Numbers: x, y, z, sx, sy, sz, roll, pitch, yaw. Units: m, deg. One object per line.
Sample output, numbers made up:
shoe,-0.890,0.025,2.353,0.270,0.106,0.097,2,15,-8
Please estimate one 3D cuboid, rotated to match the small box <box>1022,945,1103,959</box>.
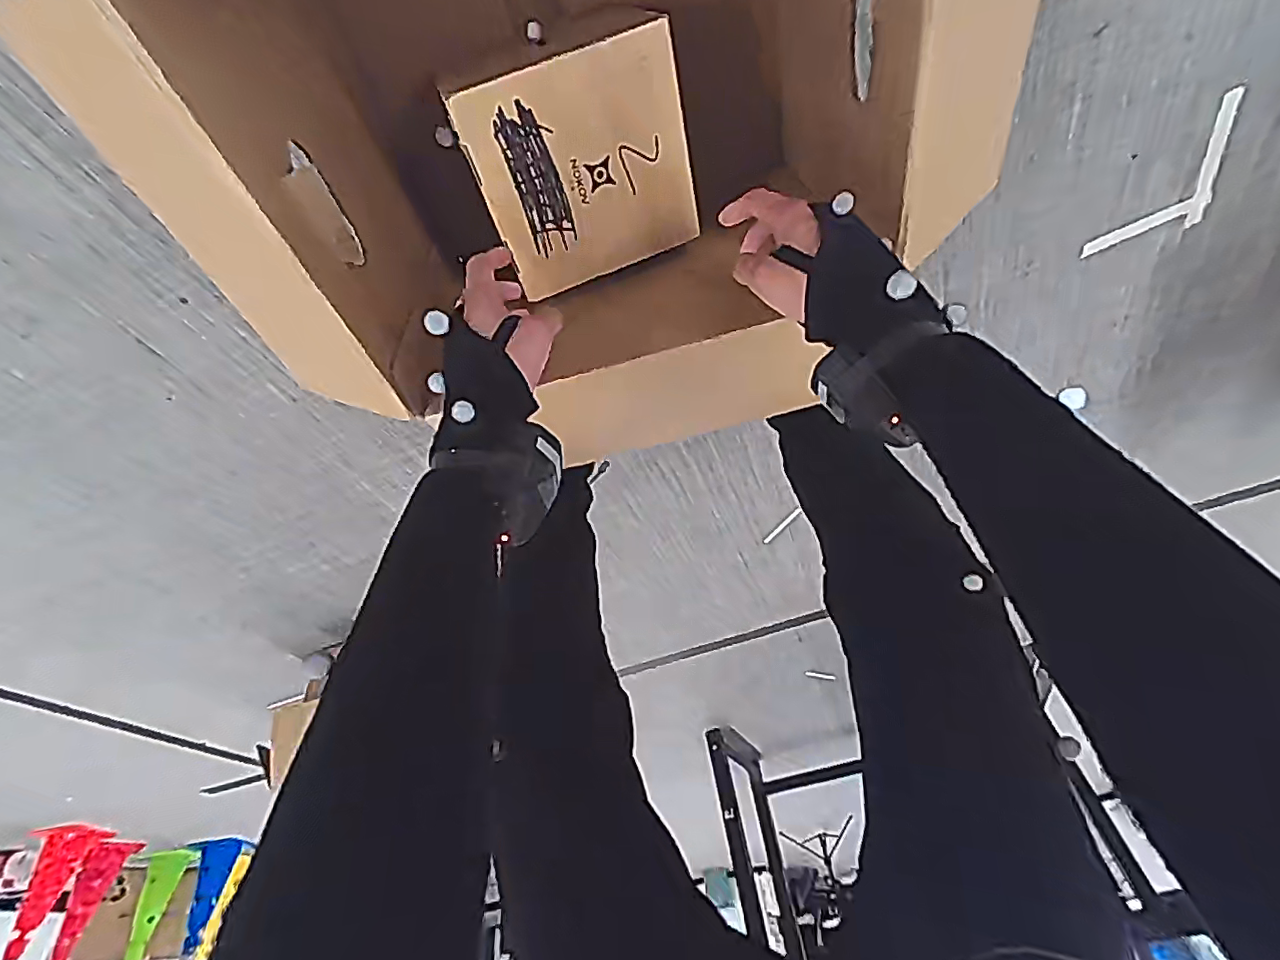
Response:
small box,1.142,1.337,1.412,0.168,0.176,0.179,-17,136,7
